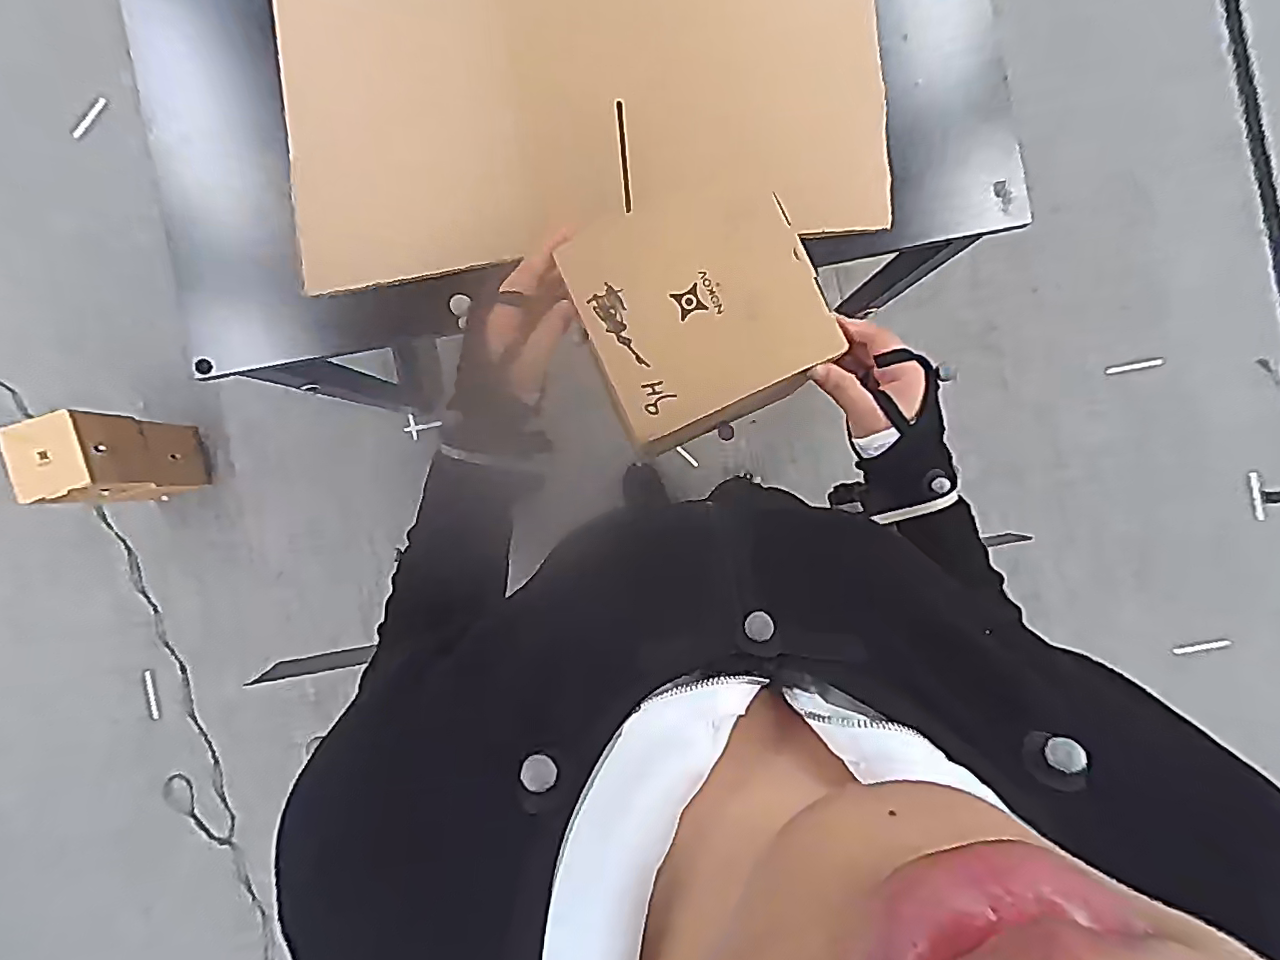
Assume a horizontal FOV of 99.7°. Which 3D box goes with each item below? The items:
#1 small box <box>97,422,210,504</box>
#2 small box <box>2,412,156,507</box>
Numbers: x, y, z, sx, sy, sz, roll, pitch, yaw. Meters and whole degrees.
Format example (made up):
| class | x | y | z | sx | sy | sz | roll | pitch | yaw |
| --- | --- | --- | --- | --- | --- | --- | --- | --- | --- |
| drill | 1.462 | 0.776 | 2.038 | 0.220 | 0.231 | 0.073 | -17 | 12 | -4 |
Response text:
| class | x | y | z | sx | sy | sz | roll | pitch | yaw |
| --- | --- | --- | --- | --- | --- | --- | --- | --- | --- |
| small box | -1.292 | -0.043 | 1.425 | 0.168 | 0.176 | 0.179 | -15 | 91 | 1 |
| small box | -1.294 | -0.047 | 1.263 | 0.168 | 0.176 | 0.179 | -17 | 90 | 0 |
